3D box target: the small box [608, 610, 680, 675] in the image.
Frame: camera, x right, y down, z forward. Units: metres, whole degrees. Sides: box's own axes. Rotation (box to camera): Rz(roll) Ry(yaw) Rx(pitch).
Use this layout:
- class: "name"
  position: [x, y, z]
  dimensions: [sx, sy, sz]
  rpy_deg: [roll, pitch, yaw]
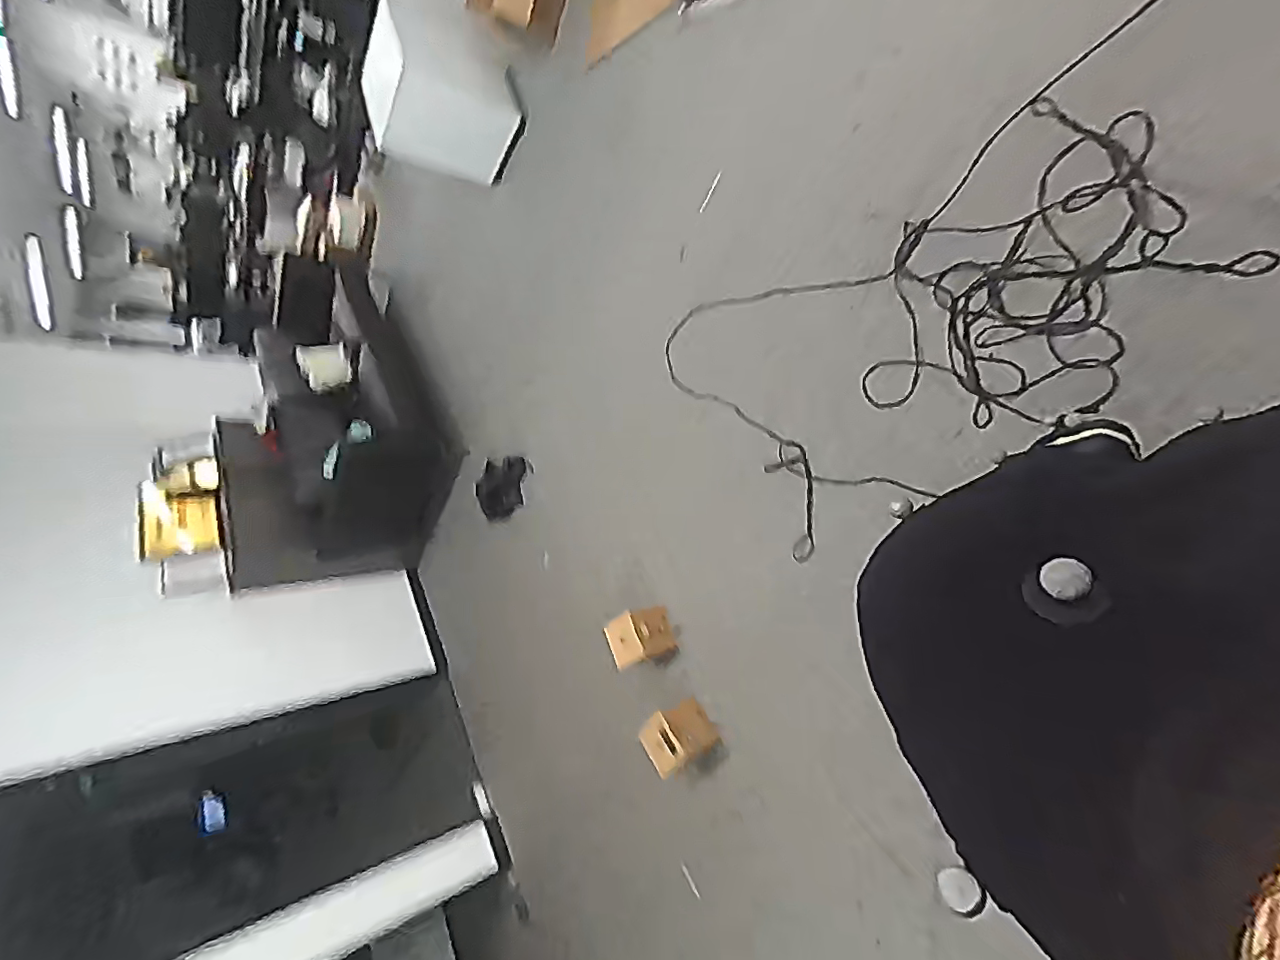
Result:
- class: "small box"
  position: [0.016, 0.595, 1.986]
  dimensions: [0.179, 0.176, 0.168]
  rpy_deg: [-45, 58, 39]
